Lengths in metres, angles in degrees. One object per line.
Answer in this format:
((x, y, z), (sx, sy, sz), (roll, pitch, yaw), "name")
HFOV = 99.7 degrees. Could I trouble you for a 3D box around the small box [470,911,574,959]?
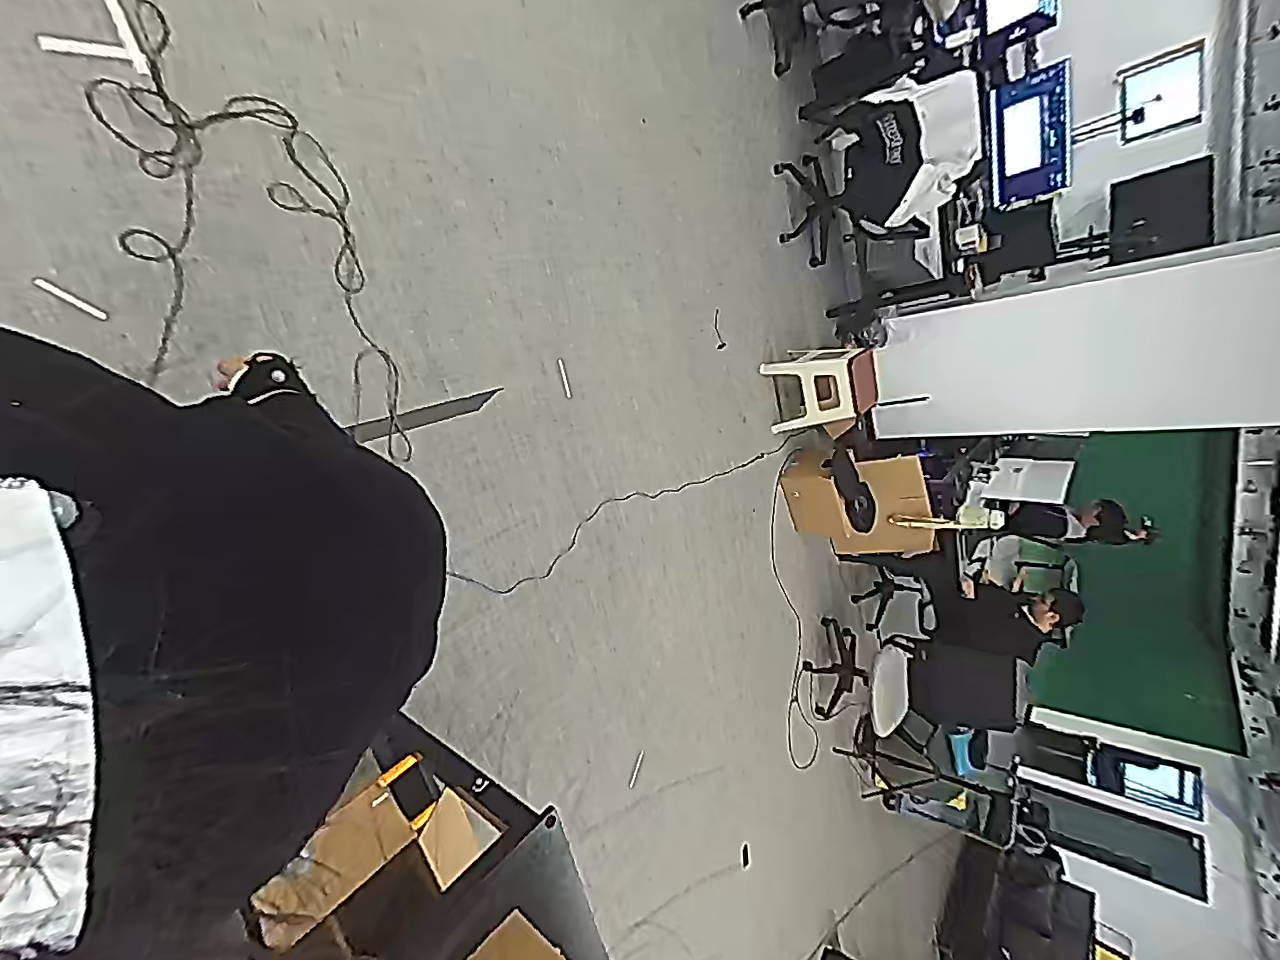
((-0.192, 0.857, 0.864), (0.179, 0.176, 0.168), (-28, 109, -42), "small box")
